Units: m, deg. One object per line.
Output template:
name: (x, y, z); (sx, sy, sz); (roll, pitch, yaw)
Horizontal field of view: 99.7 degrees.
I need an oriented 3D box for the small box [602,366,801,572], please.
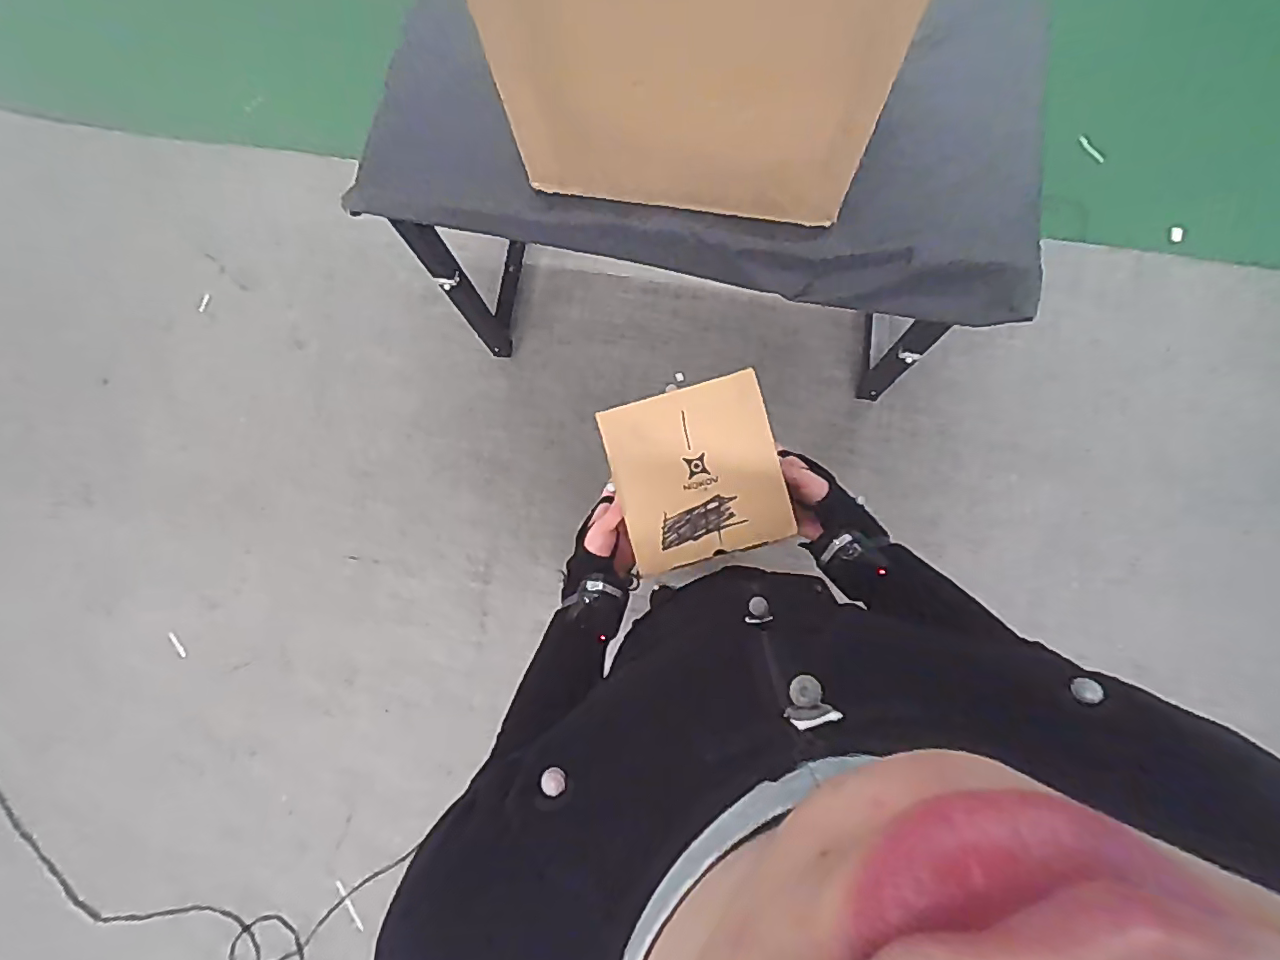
small box: (0.064, -0.015, 0.618); (0.168, 0.176, 0.179); (-16, 93, 2)
